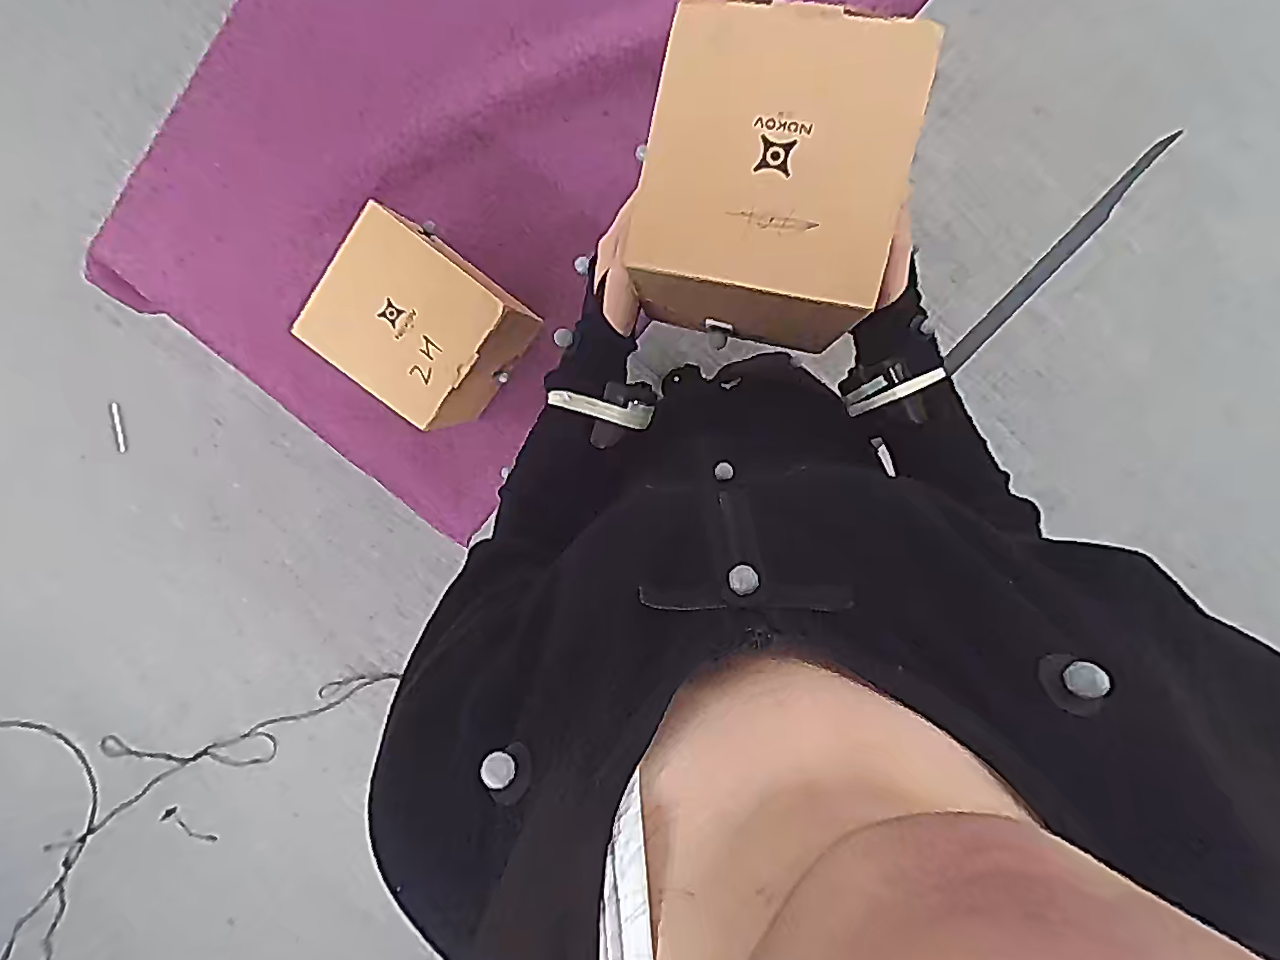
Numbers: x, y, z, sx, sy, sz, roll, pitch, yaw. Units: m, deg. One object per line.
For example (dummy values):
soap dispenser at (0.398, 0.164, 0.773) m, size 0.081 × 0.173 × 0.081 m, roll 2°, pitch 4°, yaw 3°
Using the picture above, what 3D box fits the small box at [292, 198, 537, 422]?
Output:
small box at (-0.251, -0.188, 0.645) m, size 0.179 × 0.176 × 0.168 m, roll 38°, pitch 101°, yaw -5°

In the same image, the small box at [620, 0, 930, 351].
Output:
small box at (0.091, -0.215, 0.424) m, size 0.168 × 0.176 × 0.179 m, roll 13°, pitch 95°, yaw 7°
